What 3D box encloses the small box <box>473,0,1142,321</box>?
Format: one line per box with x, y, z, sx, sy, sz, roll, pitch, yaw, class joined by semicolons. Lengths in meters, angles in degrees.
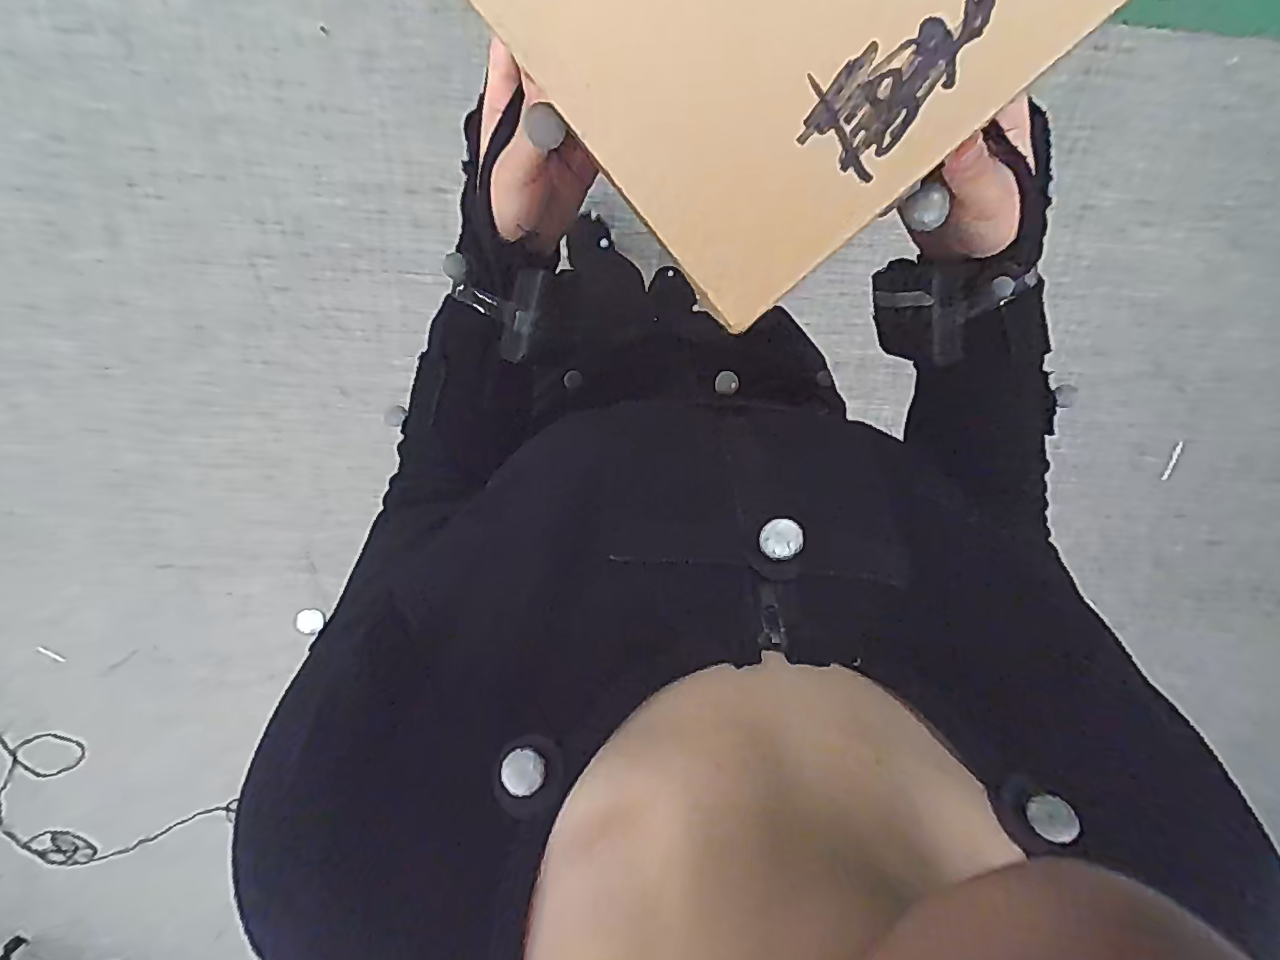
0.046;-0.180;0.206;0.168;0.176;0.179;-39;99;18;small box
